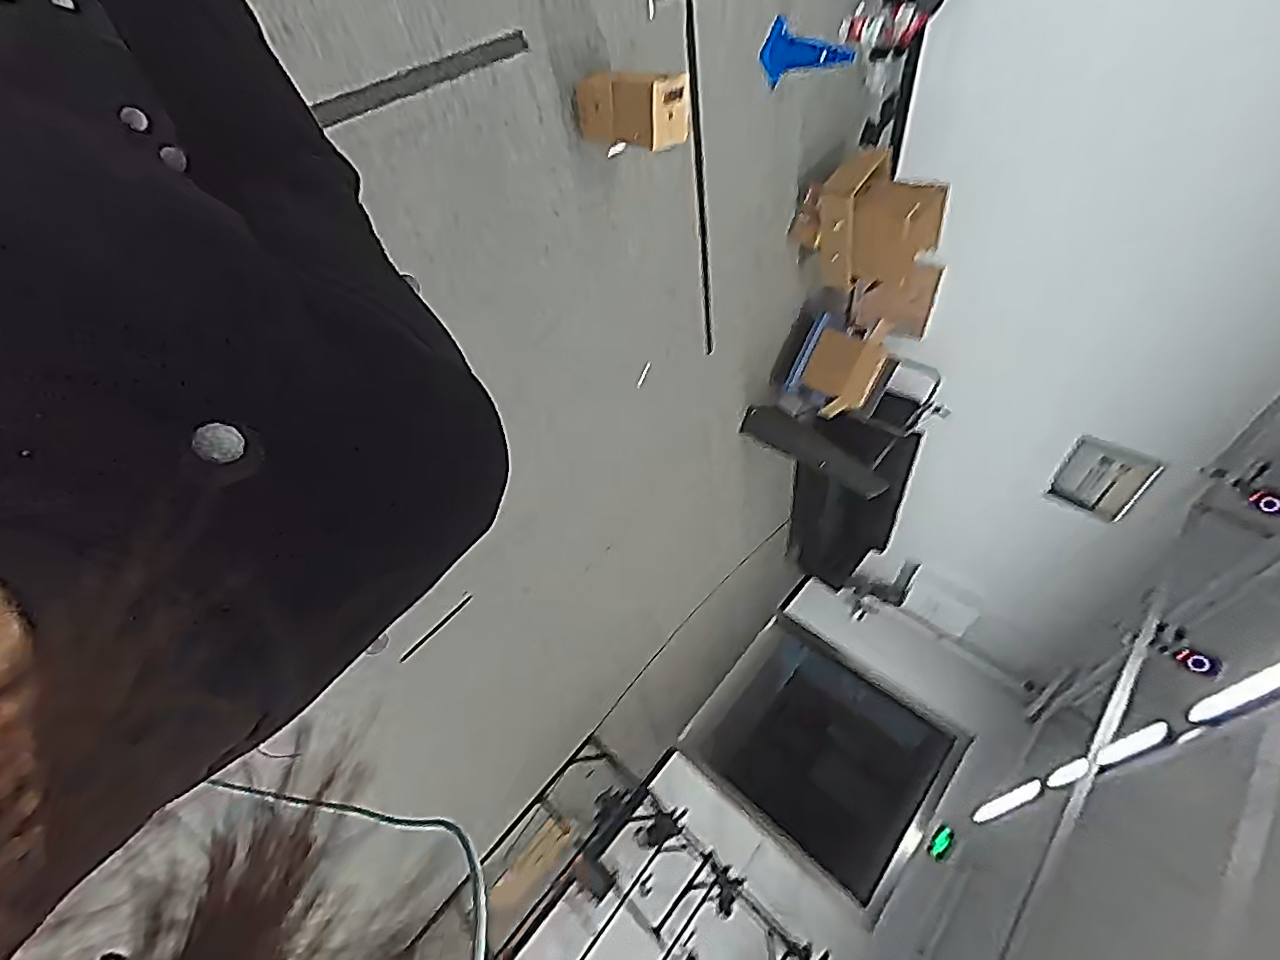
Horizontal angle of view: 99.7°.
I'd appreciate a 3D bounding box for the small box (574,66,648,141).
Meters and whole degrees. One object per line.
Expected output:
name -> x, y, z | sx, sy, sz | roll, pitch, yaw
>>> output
small box -> -0.099, -1.237, 1.774 | 0.179, 0.176, 0.168 | -42, 145, -26
